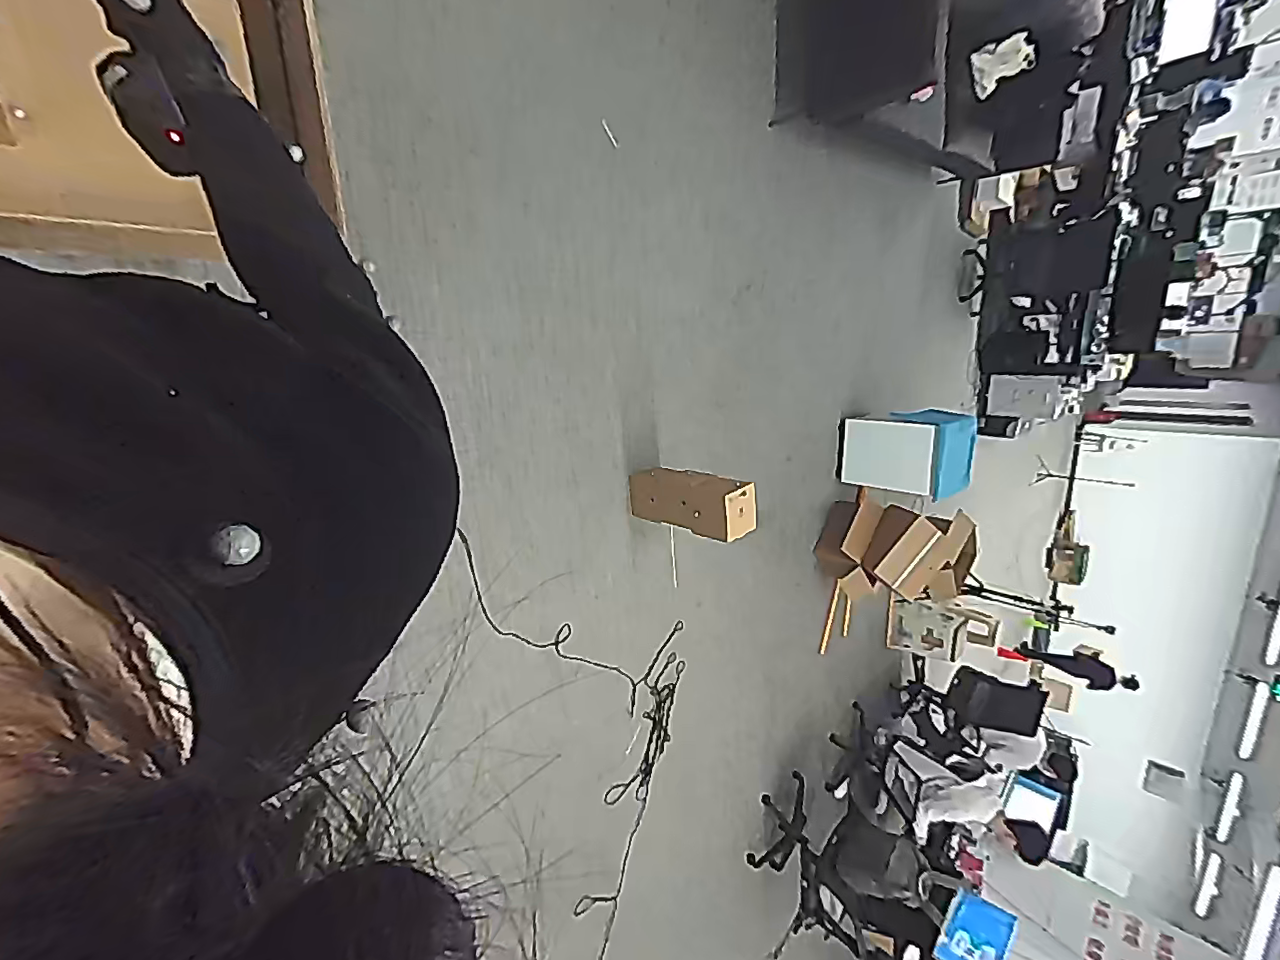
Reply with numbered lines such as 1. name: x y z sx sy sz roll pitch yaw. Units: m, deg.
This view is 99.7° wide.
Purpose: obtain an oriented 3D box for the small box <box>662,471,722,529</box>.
1. small box: 0.198 0.067 2.040 0.168 0.176 0.179 -17 110 -40

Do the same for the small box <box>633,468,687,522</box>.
1. small box: 0.085 0.053 2.159 0.168 0.176 0.179 -18 111 -40

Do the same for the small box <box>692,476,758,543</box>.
1. small box: 0.299 0.098 1.915 0.168 0.176 0.179 -20 112 -40

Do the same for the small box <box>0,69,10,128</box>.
1. small box: -0.815 -0.495 0.570 0.179 0.176 0.168 -14 108 -42
